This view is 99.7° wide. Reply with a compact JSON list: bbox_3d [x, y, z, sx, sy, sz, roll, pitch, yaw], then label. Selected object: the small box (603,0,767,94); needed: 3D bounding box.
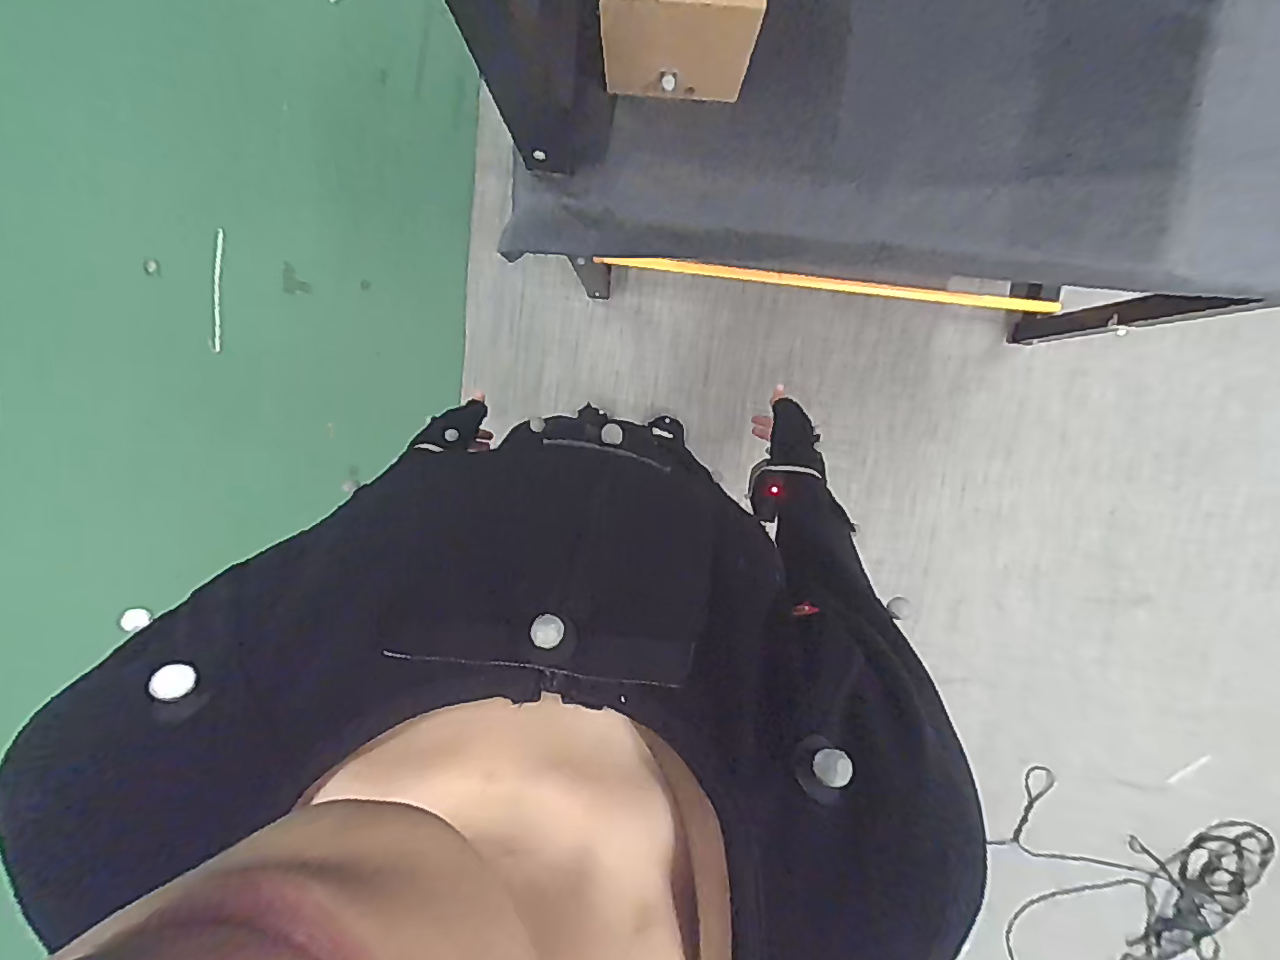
[{"bbox_3d":[0.047,-0.561,0.580,0.168,0.176,0.179,3,98,0],"label":"small box"}]
